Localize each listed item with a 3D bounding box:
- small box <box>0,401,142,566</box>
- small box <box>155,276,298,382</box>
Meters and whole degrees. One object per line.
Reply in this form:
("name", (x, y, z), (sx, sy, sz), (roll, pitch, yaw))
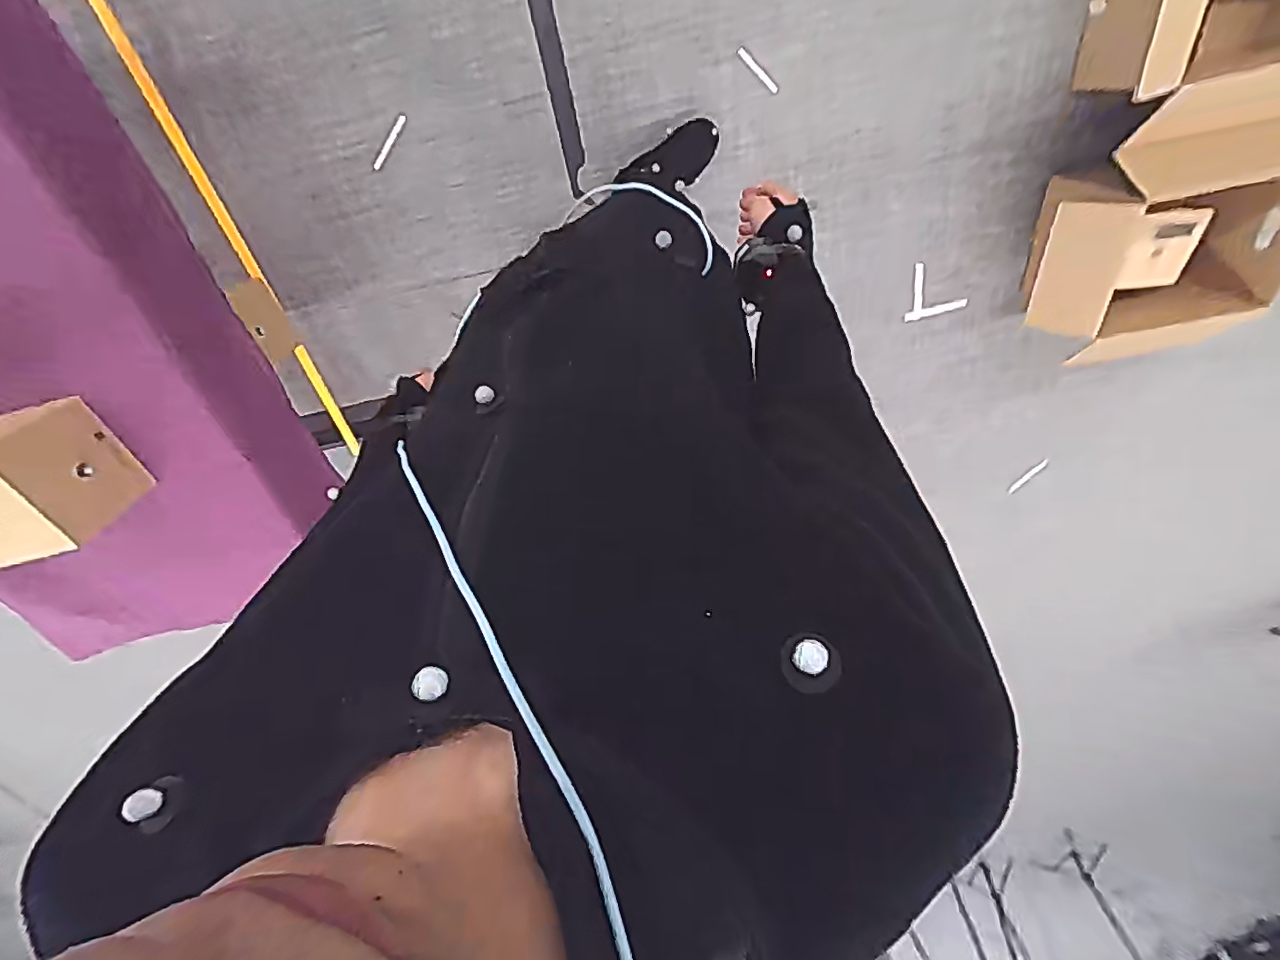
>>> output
("small box", (-0.896, 0.002, 0.792), (0.179, 0.176, 0.168), (-12, 125, 6))
("small box", (-0.965, -0.362, 1.285), (0.168, 0.176, 0.179), (-13, 124, 6))
